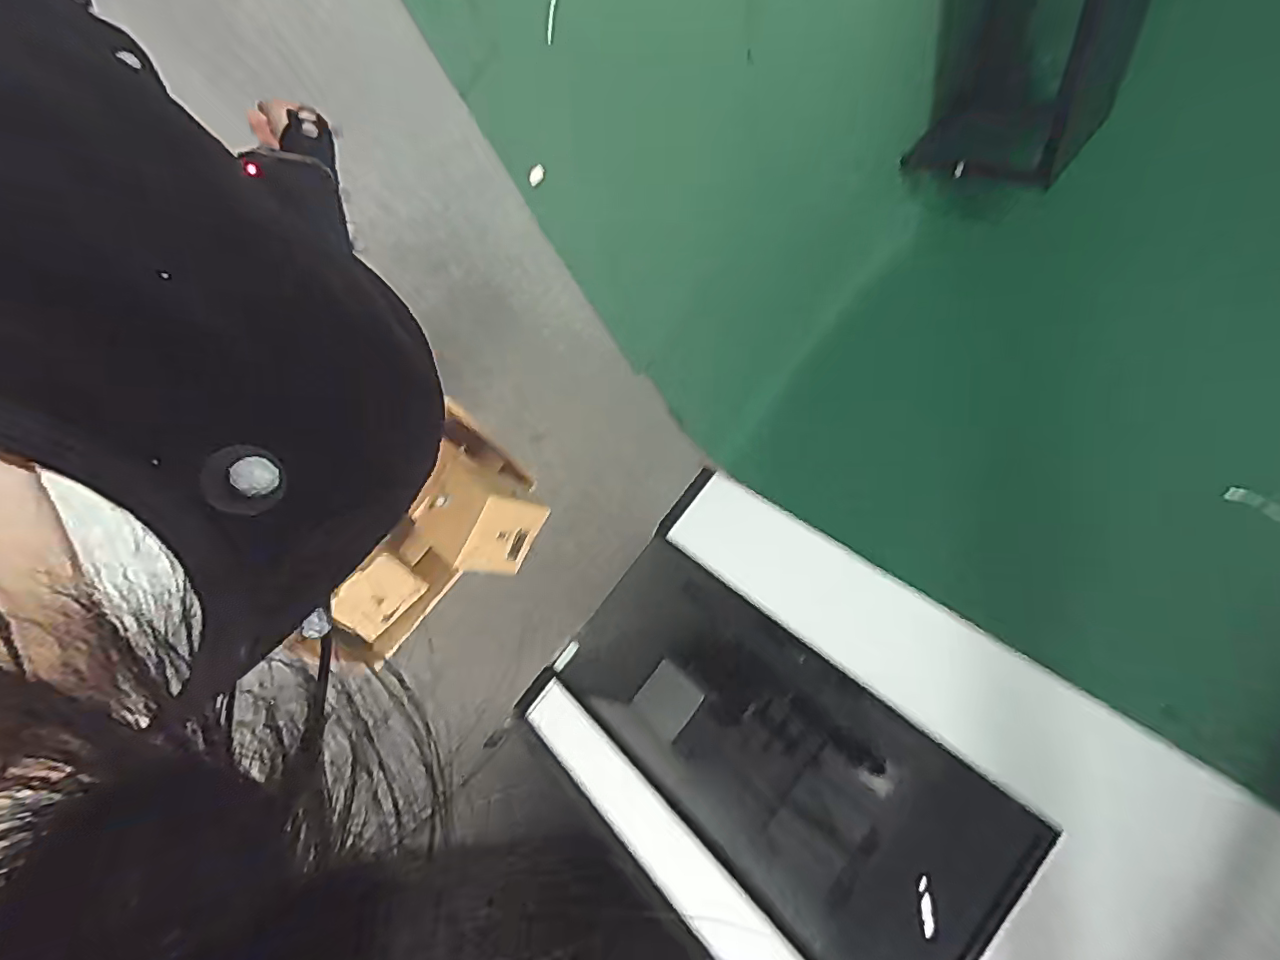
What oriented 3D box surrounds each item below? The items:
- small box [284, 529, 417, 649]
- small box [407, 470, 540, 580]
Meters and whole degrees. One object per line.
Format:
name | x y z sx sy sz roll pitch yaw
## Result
small box | -0.642 0.234 1.200 0.168 0.176 0.179 -44 144 -17
small box | -0.356 0.096 1.154 0.179 0.176 0.168 23 98 -55
